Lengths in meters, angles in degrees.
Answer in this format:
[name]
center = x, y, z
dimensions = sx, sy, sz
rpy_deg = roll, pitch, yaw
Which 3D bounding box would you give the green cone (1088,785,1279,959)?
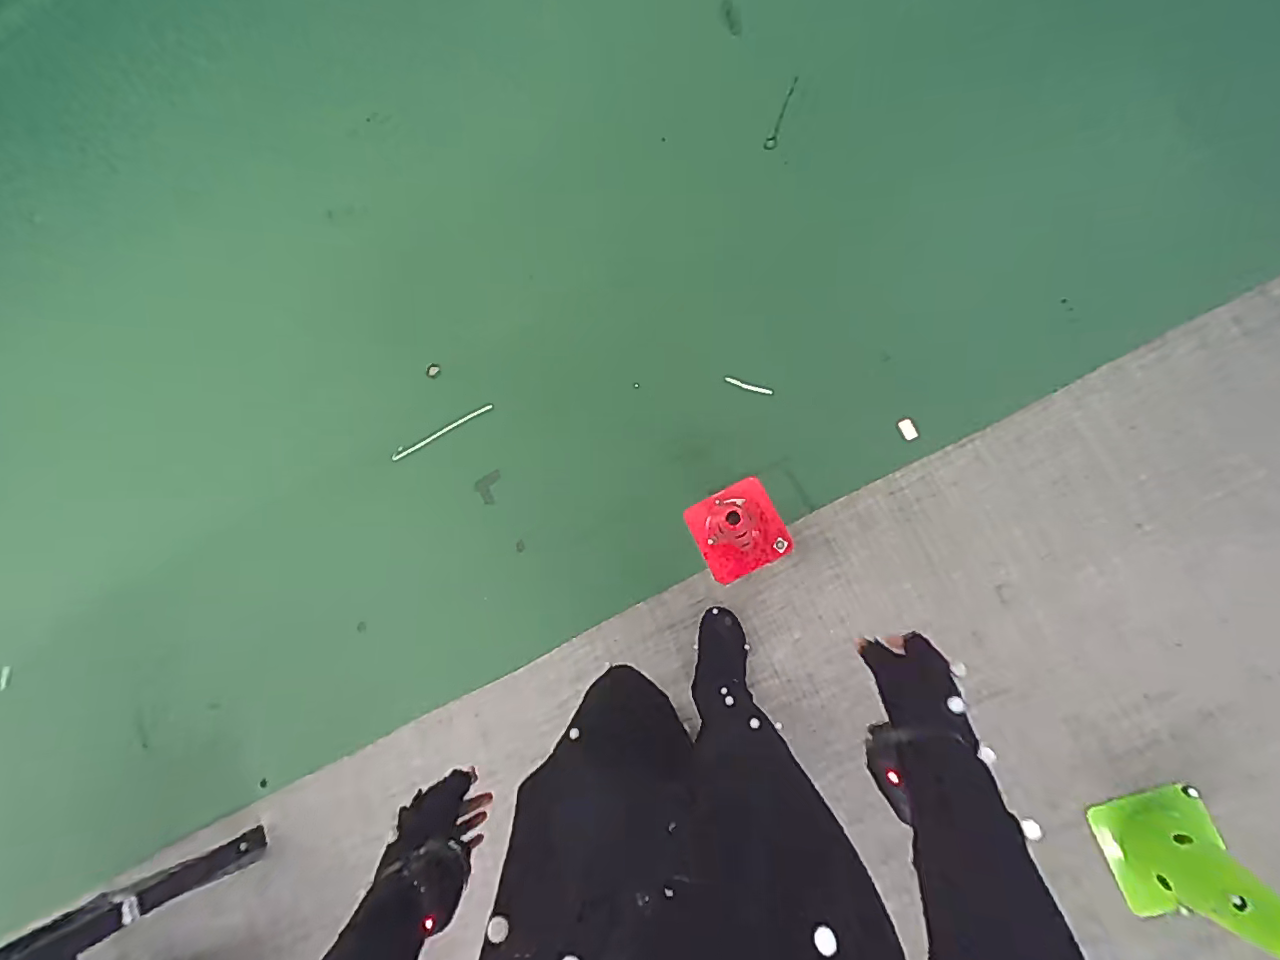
[green cone]
center = 0.954, 0.677, 0.856
dimensions = 0.200, 0.368, 0.202
rpy_deg = -23, 77, 8
